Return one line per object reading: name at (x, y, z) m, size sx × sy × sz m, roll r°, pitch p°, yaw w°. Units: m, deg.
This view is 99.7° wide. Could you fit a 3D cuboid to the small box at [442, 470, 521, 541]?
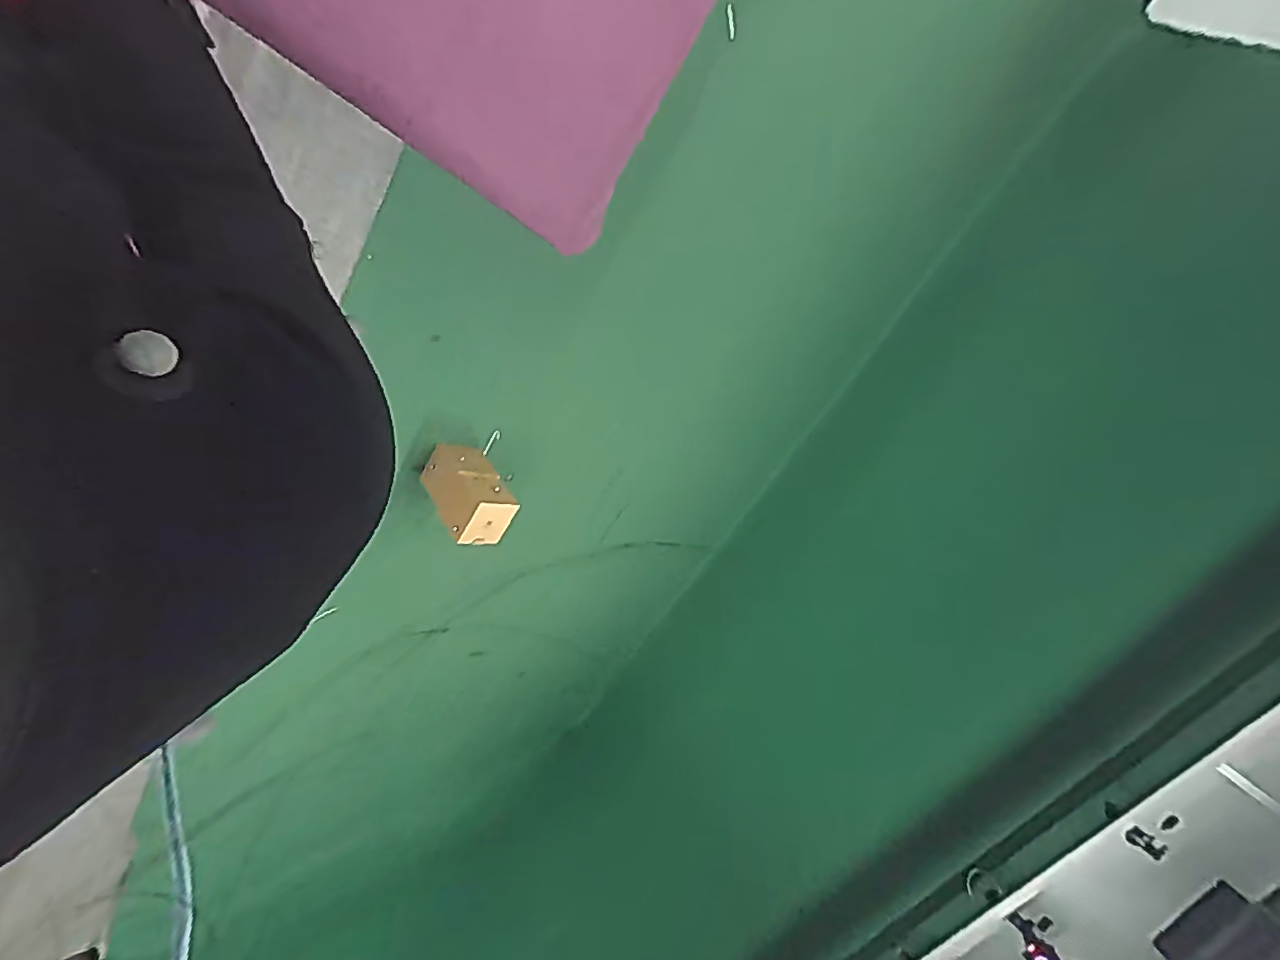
small box at (-0.543, 0.086, 1.830) m, size 0.168 × 0.176 × 0.179 m, roll 8°, pitch 123°, yaw -53°
